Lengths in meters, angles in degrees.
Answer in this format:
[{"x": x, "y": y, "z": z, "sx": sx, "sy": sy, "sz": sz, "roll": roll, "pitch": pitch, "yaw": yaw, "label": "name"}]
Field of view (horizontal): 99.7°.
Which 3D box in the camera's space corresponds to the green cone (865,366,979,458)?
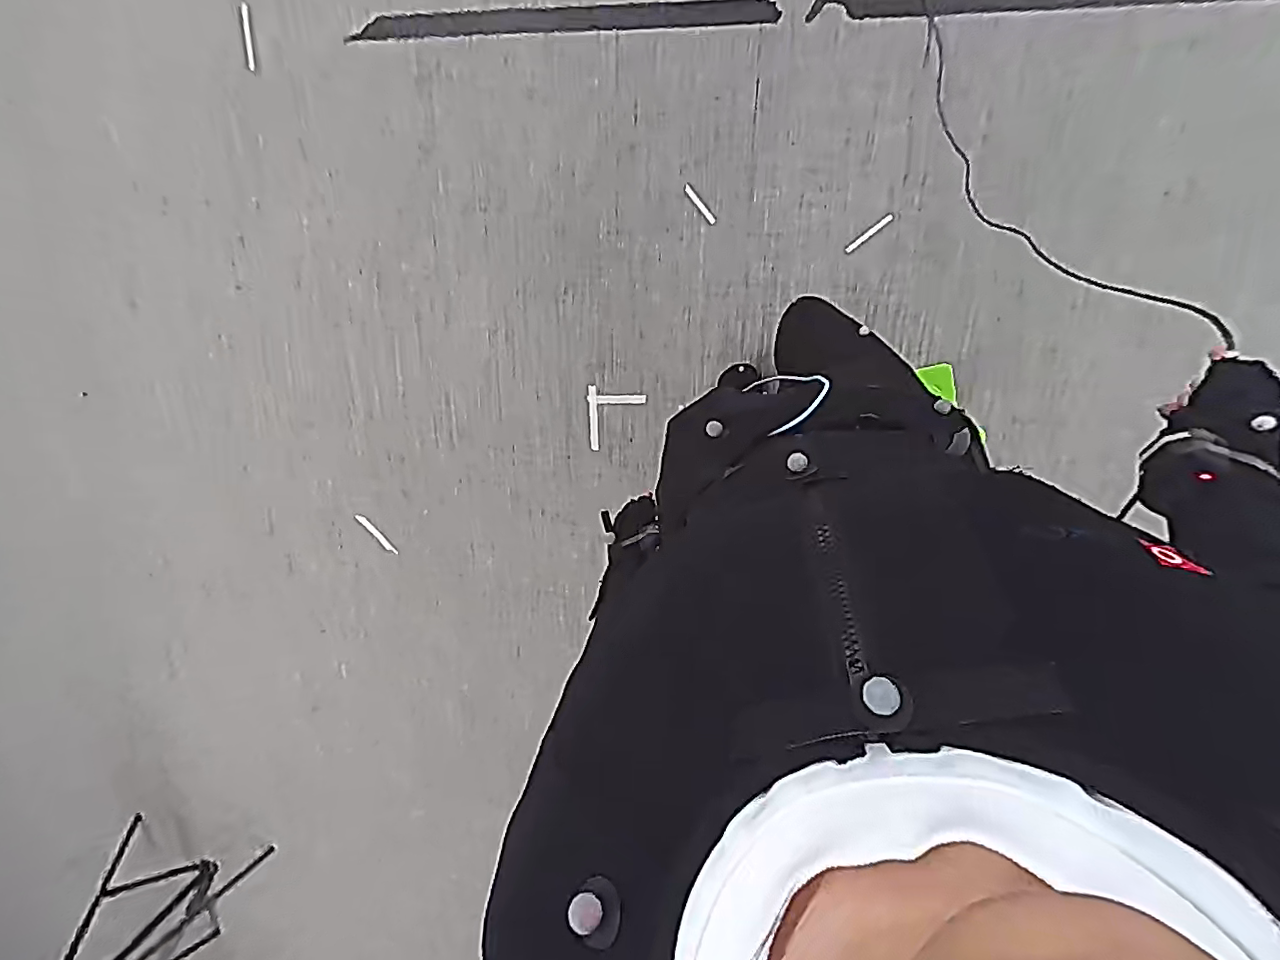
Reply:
[{"x": 0.633, "y": -0.121, "z": 1.151, "sx": 0.202, "sy": 0.368, "sz": 0.200, "roll": -12, "pitch": 101, "yaw": 13, "label": "green cone"}]
